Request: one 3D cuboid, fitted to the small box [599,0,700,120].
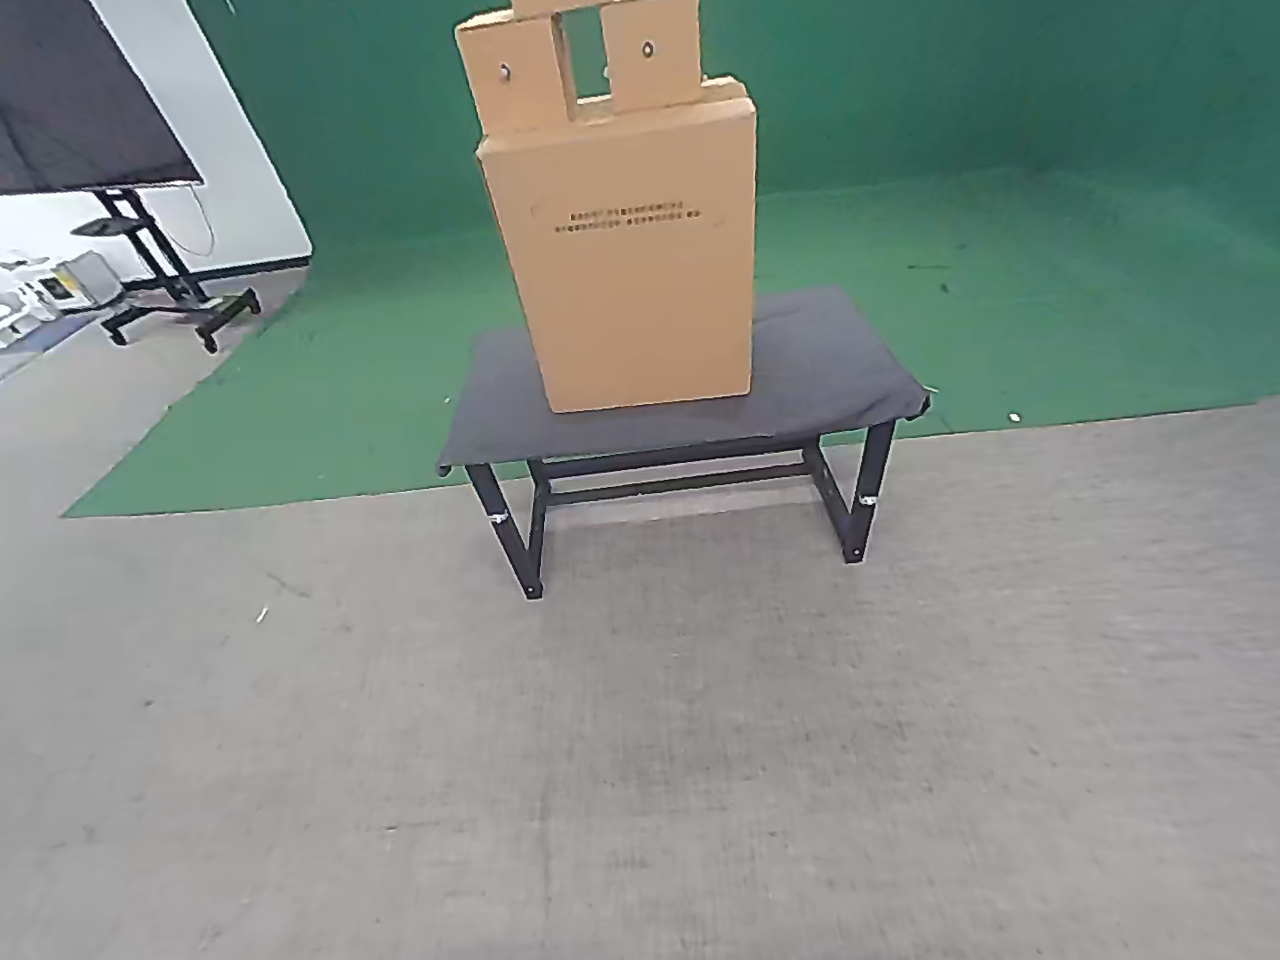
[{"bbox_3d":[0.026,-0.833,1.056,0.179,0.176,0.168,-5,48,7],"label":"small box"}]

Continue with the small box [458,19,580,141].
[{"bbox_3d":[-0.229,-0.791,1.066,0.179,0.176,0.168,-4,47,6],"label":"small box"}]

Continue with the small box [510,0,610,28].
[{"bbox_3d":[-0.152,-0.916,0.943,0.179,0.176,0.168,-13,45,0],"label":"small box"}]
